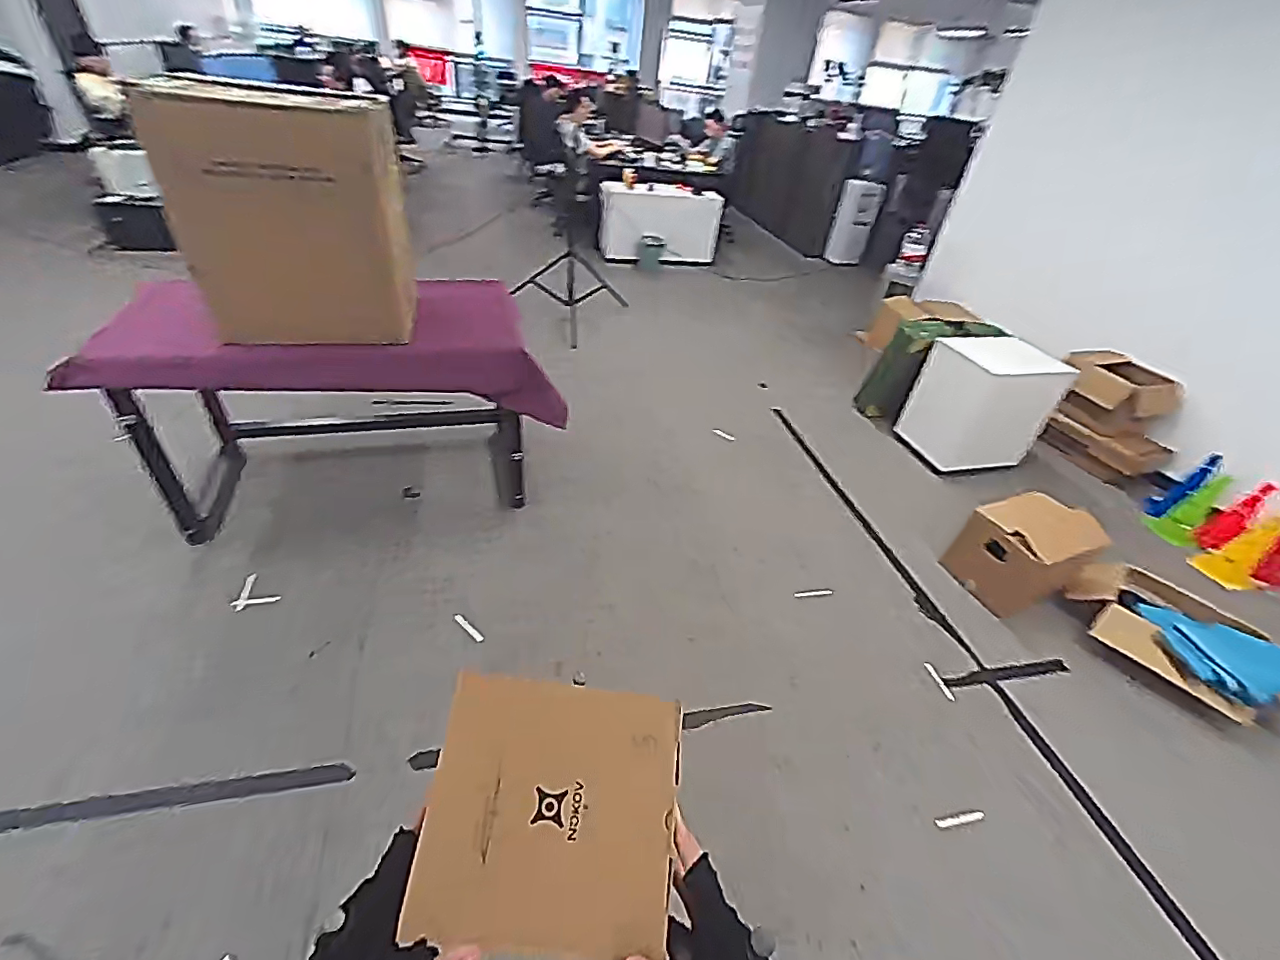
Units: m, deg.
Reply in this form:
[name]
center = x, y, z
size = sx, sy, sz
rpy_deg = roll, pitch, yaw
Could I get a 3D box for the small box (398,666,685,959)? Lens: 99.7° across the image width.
[small box]
center = -0.068, 0.259, 0.446
size = 0.179, 0.176, 0.168
rpy_deg = 8, 61, -4
